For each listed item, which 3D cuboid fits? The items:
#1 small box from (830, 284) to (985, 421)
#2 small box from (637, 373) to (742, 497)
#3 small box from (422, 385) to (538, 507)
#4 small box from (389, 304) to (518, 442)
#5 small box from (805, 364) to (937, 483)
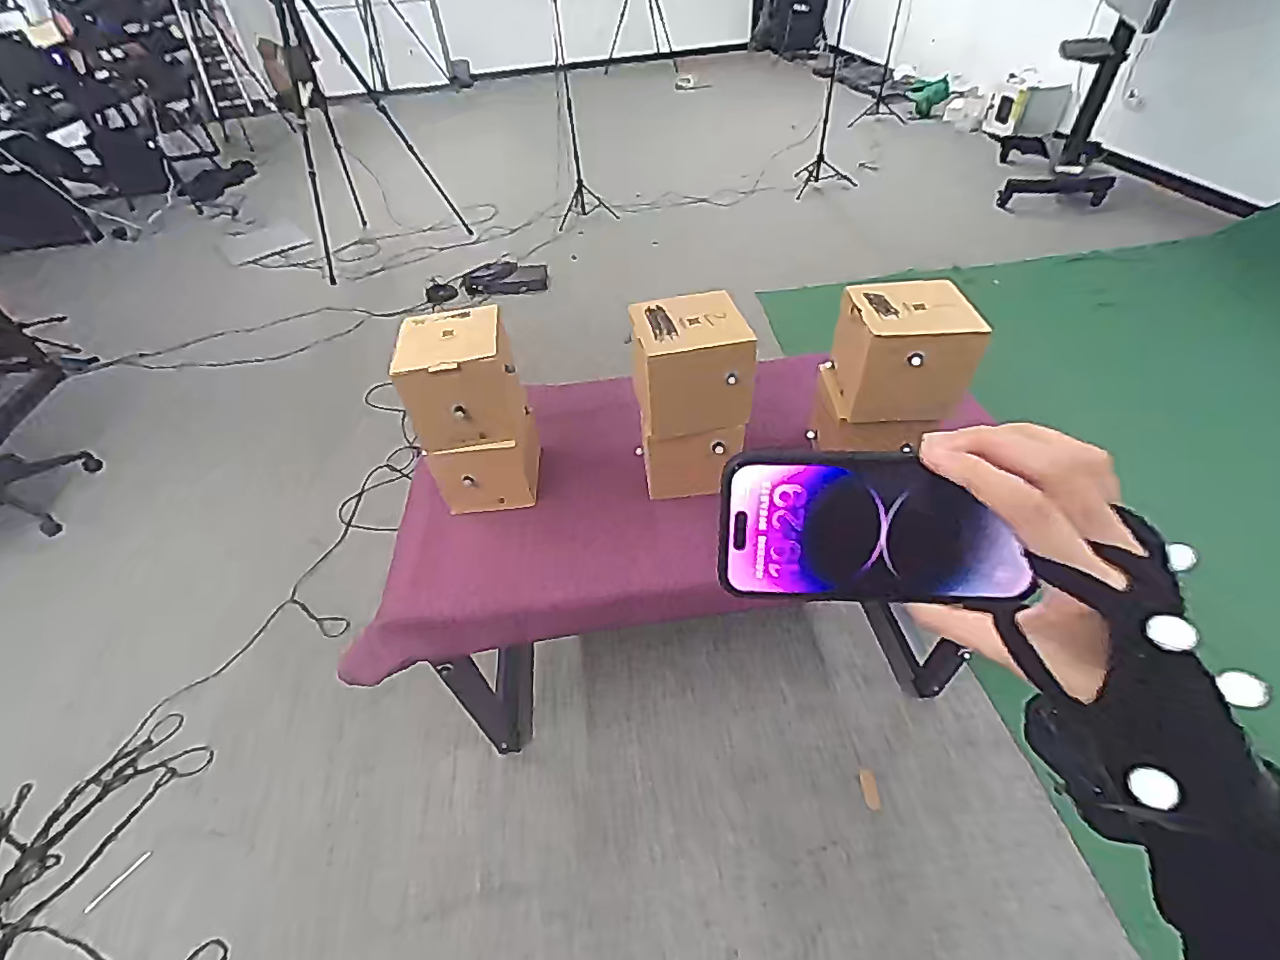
[{"bbox_3d":[0.429,-0.211,0.908,0.179,0.176,0.168,-1,46,3],"label":"small box"},{"bbox_3d":[0.090,-0.085,1.043,0.179,0.176,0.168,-6,46,0],"label":"small box"},{"bbox_3d":[-0.300,-0.060,1.056,0.168,0.176,0.179,-5,46,0],"label":"small box"},{"bbox_3d":[-0.312,-0.180,0.943,0.168,0.176,0.179,-9,47,-4],"label":"small box"},{"bbox_3d":[0.429,-0.108,1.036,0.179,0.176,0.168,-1,46,4],"label":"small box"}]
